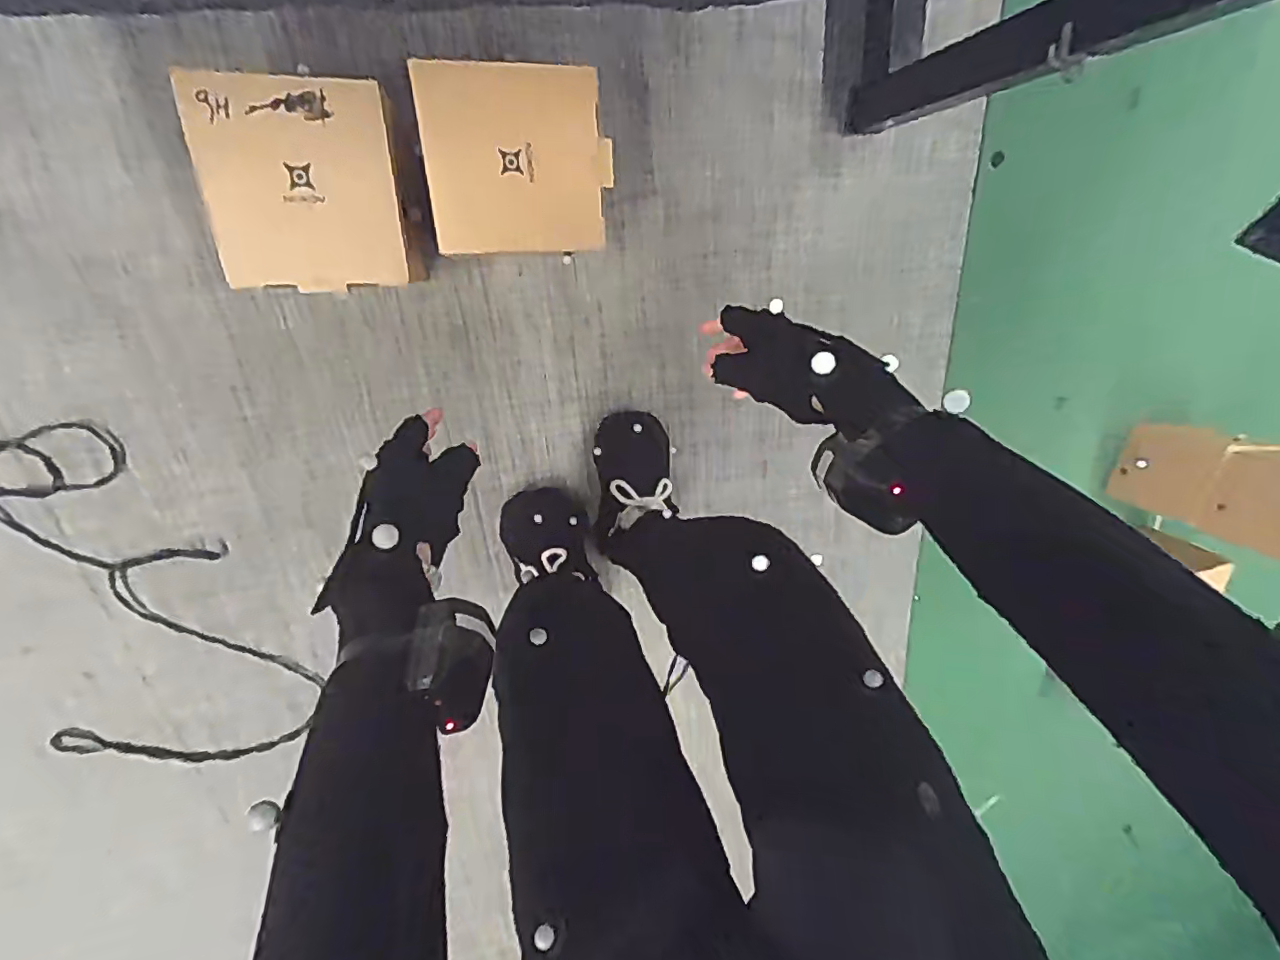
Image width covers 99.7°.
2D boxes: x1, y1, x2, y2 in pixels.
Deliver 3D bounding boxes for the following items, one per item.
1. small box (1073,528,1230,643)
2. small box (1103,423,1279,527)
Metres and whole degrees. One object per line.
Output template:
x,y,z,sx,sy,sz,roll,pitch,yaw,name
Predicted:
1.112,0.225,1.192,0.179,0.176,0.168,-11,114,-12,small box
1.112,-0.014,1.096,0.179,0.176,0.168,1,110,-15,small box
